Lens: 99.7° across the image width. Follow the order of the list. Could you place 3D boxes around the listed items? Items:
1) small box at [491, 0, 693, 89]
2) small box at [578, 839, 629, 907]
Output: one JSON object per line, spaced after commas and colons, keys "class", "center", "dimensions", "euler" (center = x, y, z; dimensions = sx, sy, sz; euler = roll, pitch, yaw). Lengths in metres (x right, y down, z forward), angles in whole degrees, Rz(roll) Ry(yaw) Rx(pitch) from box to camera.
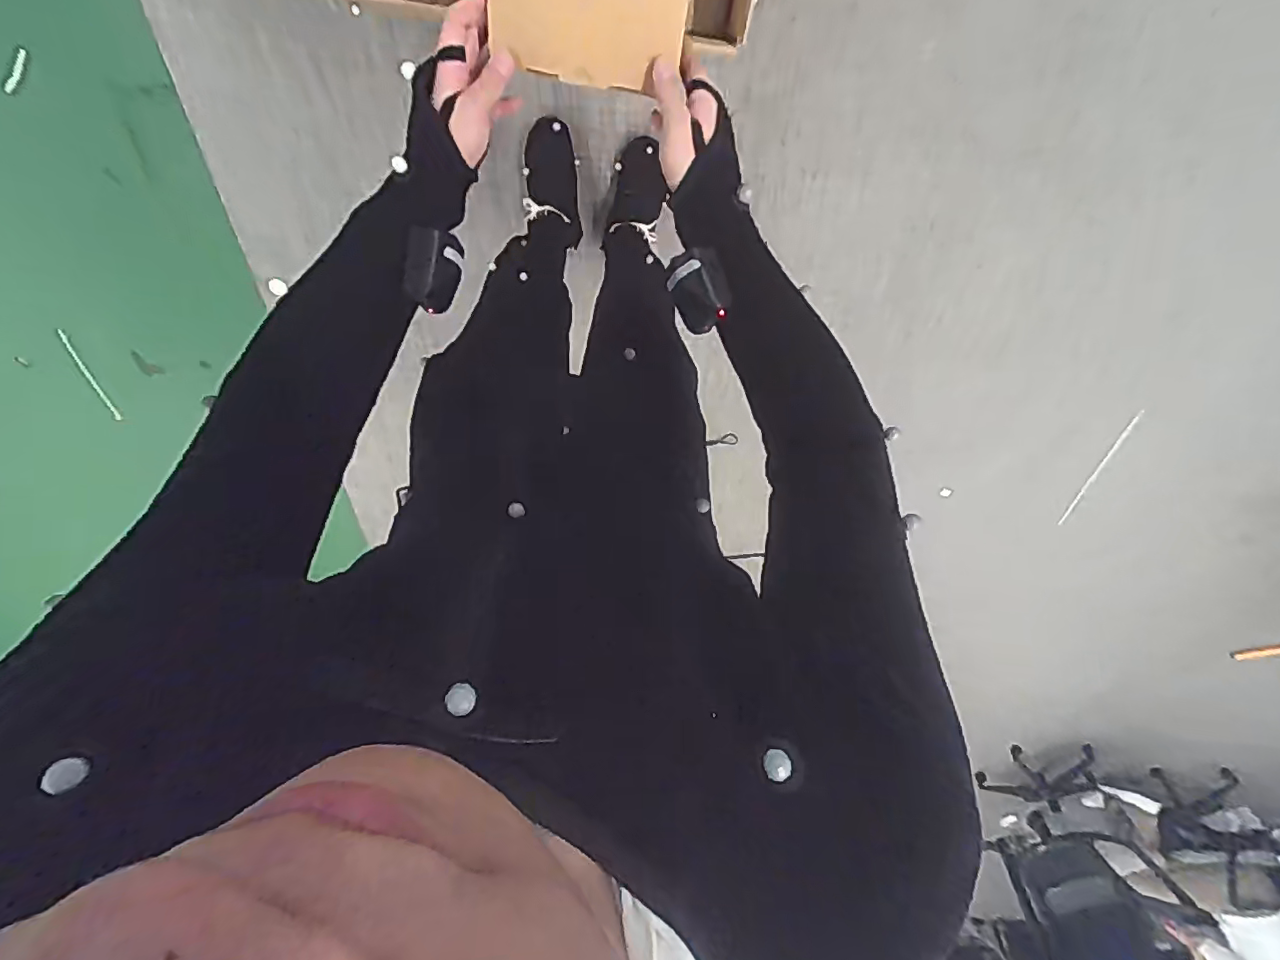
{"class": "small box", "center": [-0.032, -0.475, 0.471], "dimensions": [0.168, 0.176, 0.179], "euler": [8, 135, -4]}
{"class": "small box", "center": [-0.128, 1.424, 1.961], "dimensions": [0.168, 0.176, 0.179], "euler": [0, 130, 4]}
